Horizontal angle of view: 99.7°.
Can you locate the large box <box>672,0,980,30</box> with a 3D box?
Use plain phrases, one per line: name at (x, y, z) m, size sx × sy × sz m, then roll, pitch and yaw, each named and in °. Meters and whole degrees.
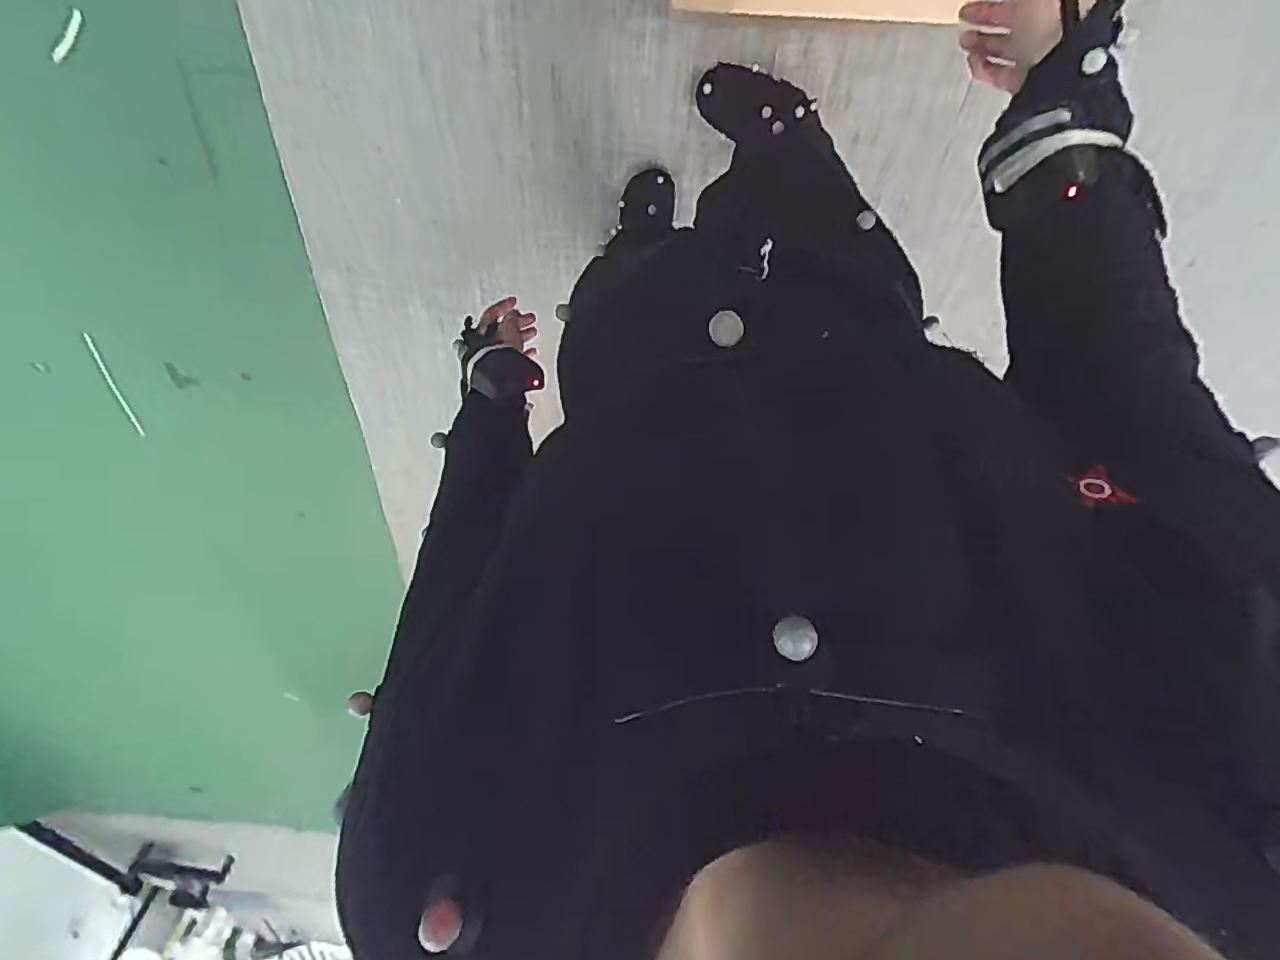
large box at (0.251, -0.828, 0.743) m, size 0.408 × 0.320 × 0.320 m, roll 2°, pitch 129°, yaw 0°
